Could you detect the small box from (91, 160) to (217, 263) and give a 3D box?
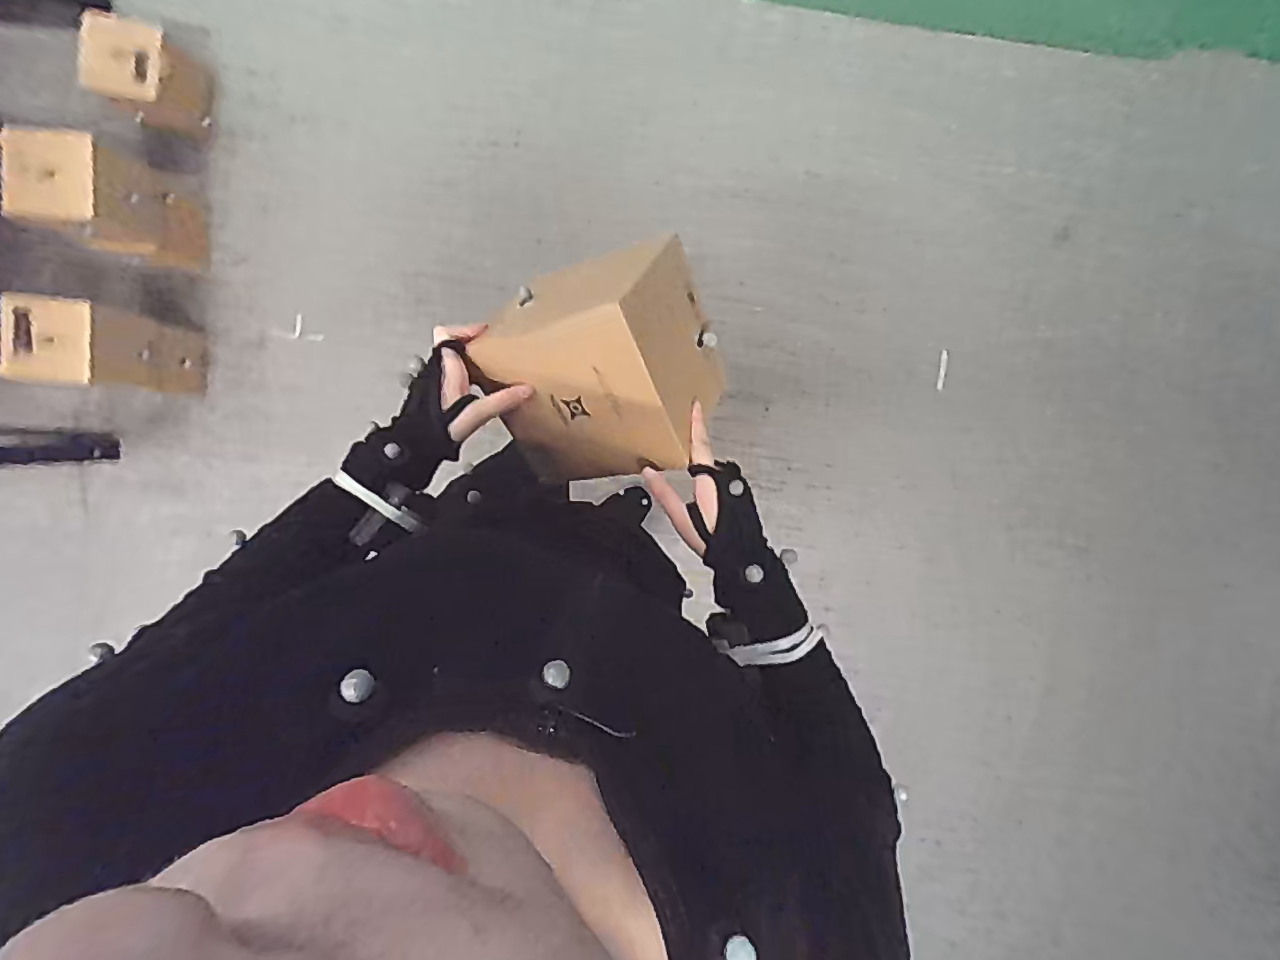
[{"bbox_3d":[-1.187,-0.650,1.331,0.168,0.176,0.179,5,94,-2],"label":"small box"}]

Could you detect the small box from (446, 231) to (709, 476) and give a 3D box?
[{"bbox_3d":[-0.049,-0.124,0.550,0.179,0.176,0.168,-6,129,29],"label":"small box"}]
